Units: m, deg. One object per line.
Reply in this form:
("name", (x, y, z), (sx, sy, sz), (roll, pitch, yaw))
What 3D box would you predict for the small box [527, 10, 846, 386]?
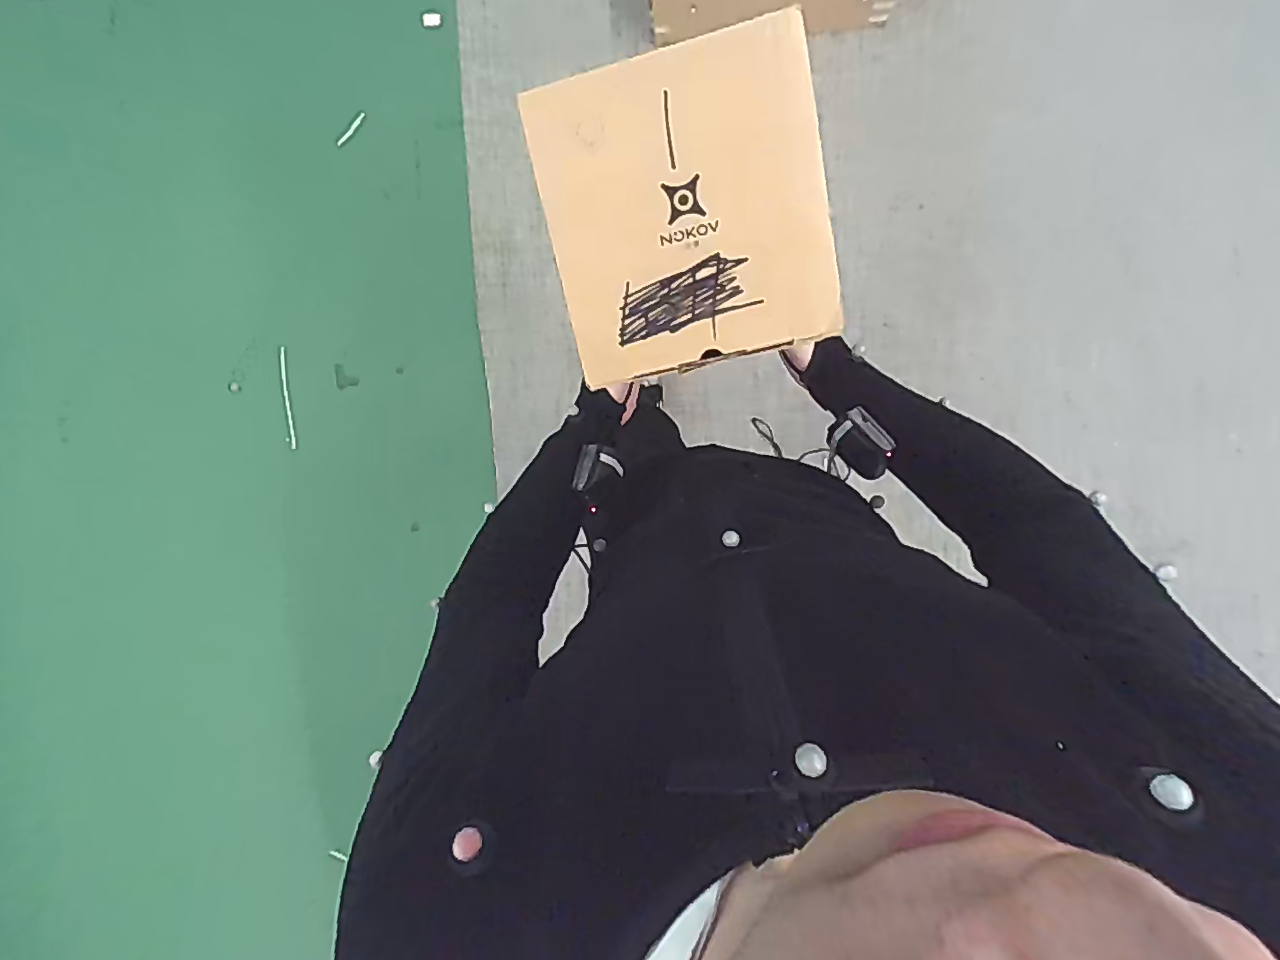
("small box", (0.038, -0.176, 0.396), (0.168, 0.176, 0.179), (-11, 103, 8))
